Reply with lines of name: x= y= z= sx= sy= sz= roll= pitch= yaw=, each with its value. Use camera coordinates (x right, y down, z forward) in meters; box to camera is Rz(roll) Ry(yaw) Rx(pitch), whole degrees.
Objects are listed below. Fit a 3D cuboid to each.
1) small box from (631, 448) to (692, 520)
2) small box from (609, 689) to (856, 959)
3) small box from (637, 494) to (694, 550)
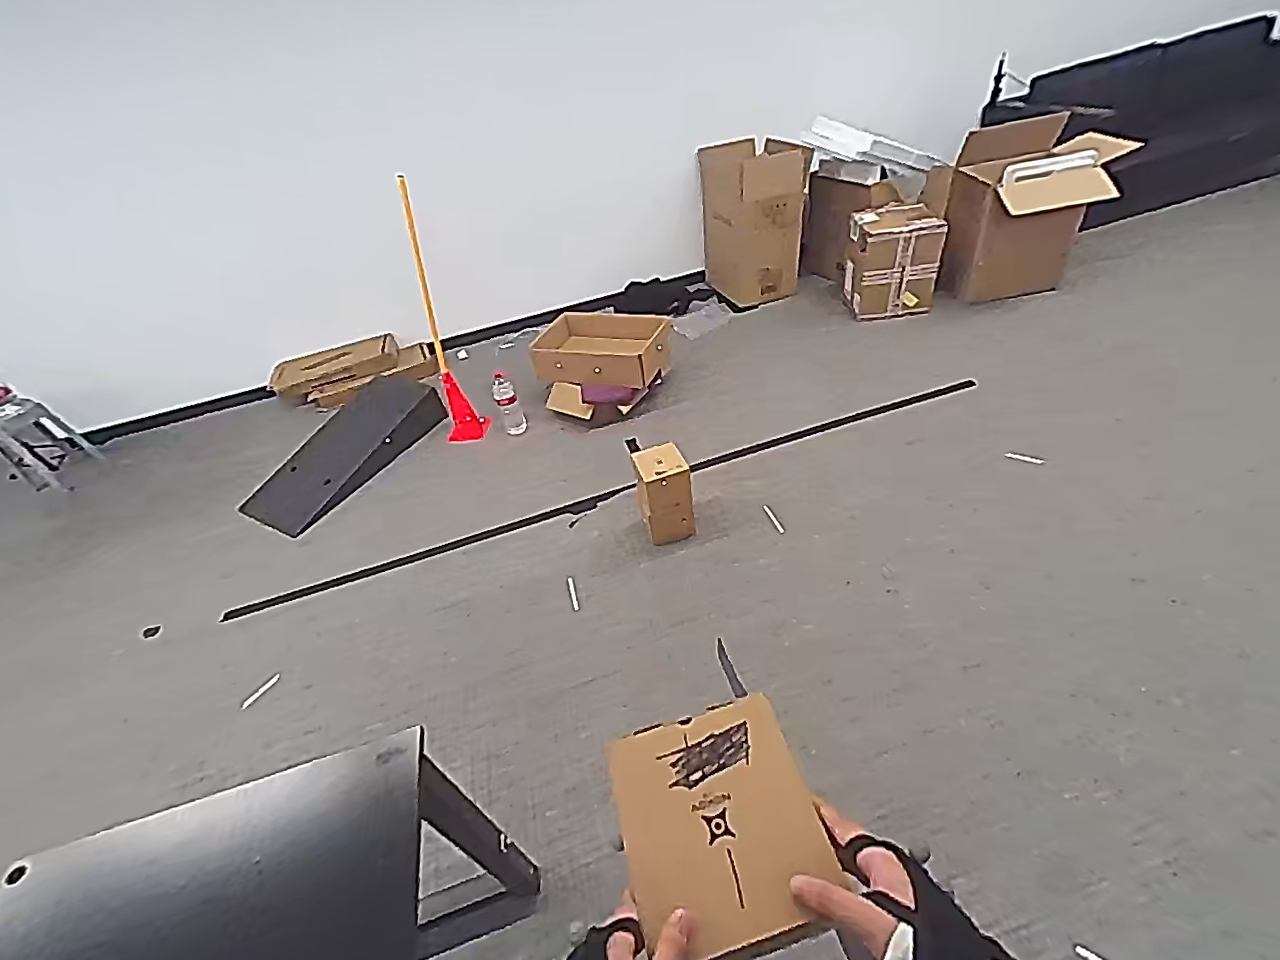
small box: x=0.079 y=0.015 z=1.957 sx=0.168 sy=0.176 sz=0.179 roll=-18 pitch=39 yaw=-8
small box: x=0.076 y=0.339 z=0.520 sx=0.168 sy=0.176 sz=0.179 roll=-16 pitch=44 yaw=-6
small box: x=0.102 y=0.139 z=2.062 sx=0.179 sy=0.176 sz=0.168 roll=-18 pitch=39 yaw=-6
